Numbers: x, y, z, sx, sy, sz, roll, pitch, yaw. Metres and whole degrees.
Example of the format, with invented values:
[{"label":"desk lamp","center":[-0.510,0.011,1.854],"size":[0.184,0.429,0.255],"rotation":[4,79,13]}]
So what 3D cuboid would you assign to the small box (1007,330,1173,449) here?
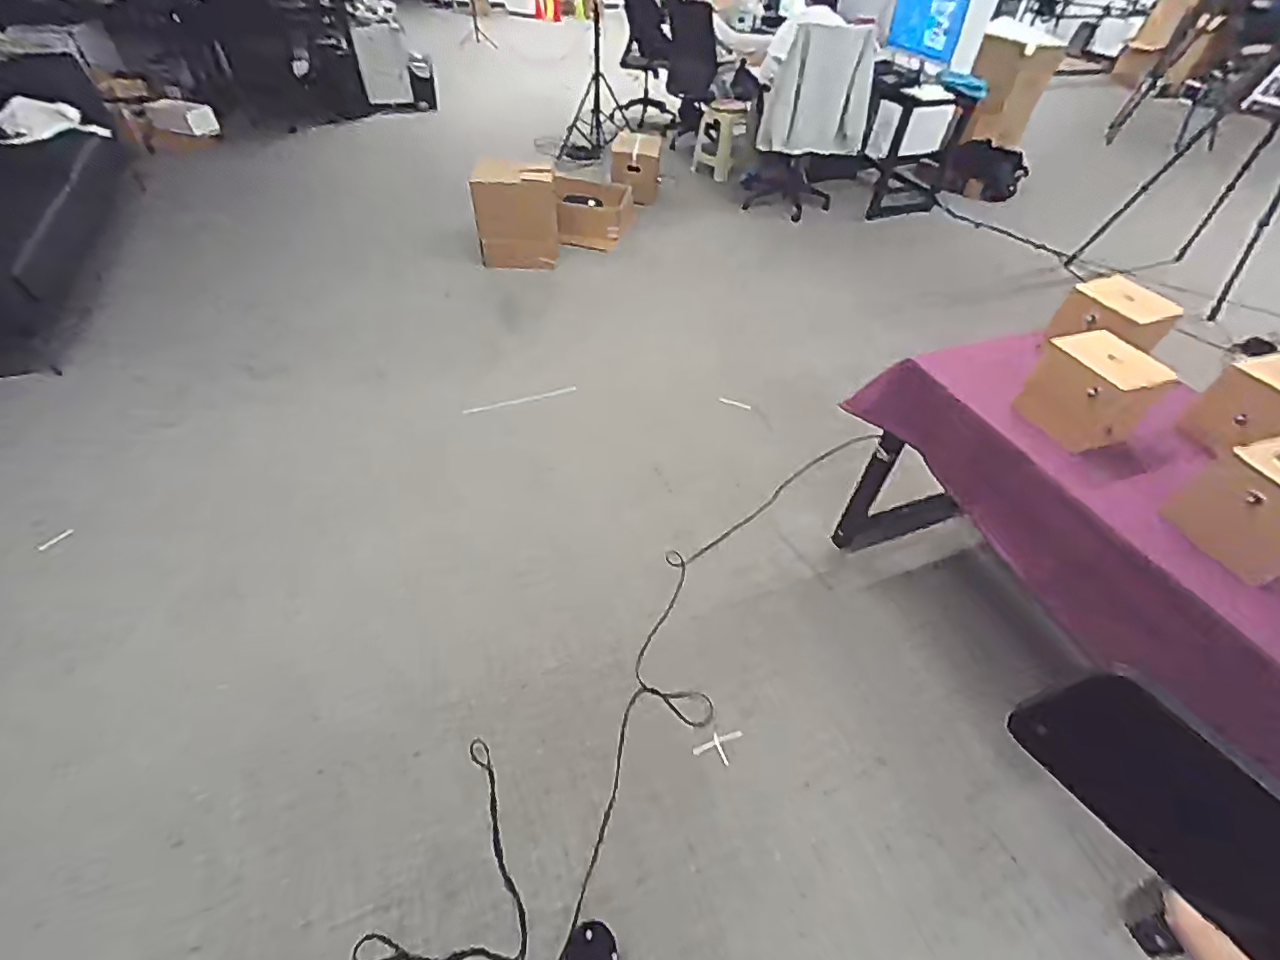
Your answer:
[{"label":"small box","center":[0.945,-0.193,1.156],"size":[0.168,0.176,0.179],"rotation":[-13,51,-16]}]

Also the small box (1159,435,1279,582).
[{"label":"small box","center":[1.088,0.048,0.941],"size":[0.168,0.176,0.179],"rotation":[-12,50,-14]}]
